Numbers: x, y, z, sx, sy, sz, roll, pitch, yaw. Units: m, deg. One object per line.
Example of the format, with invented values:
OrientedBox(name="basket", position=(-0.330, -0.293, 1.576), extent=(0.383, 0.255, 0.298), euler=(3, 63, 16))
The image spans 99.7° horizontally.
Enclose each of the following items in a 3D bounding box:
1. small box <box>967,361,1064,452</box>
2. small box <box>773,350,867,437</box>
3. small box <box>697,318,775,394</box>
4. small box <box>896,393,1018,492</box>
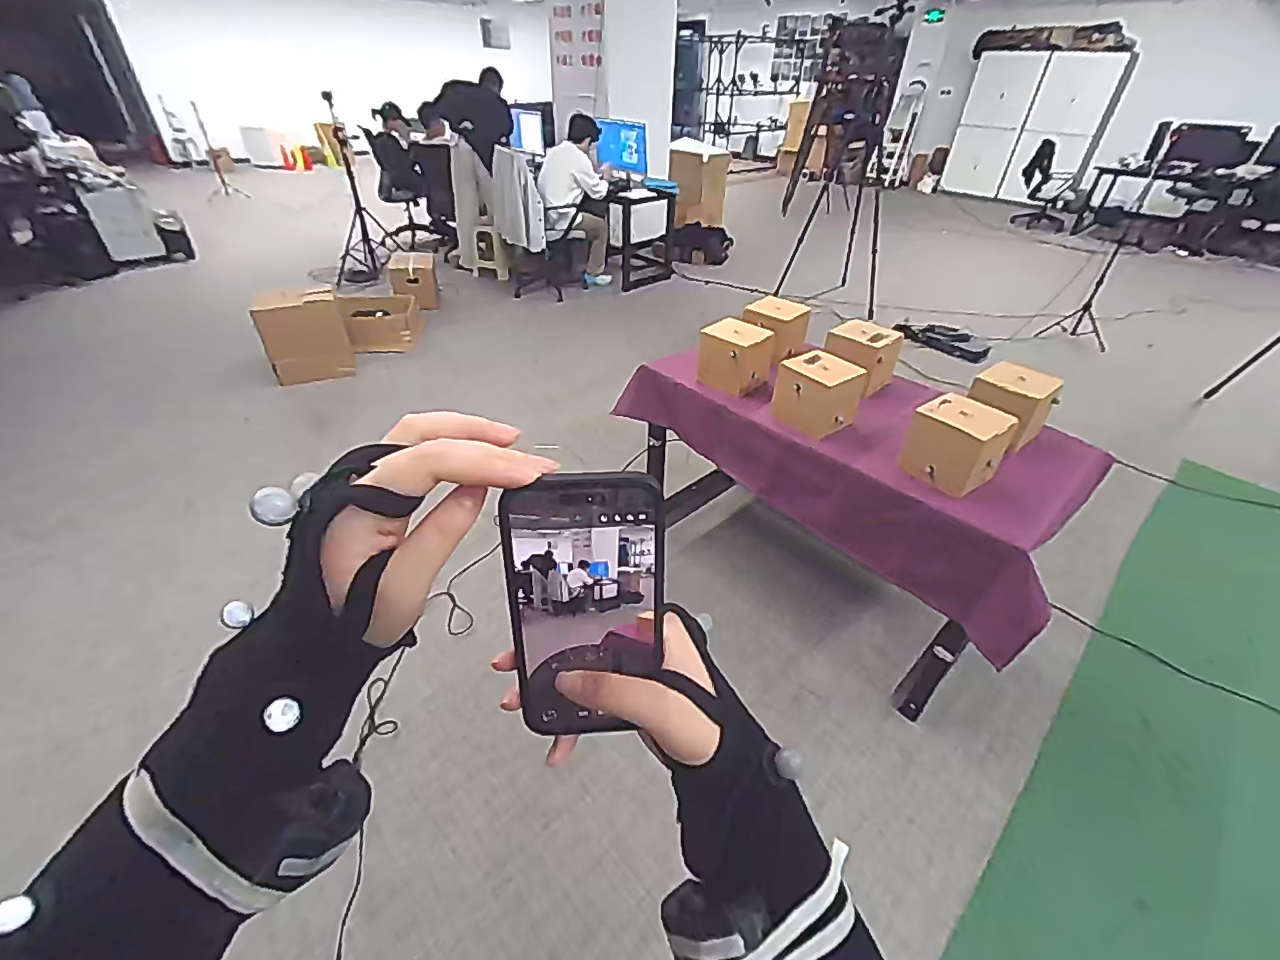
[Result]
OrientedBox(name="small box", position=(1.018, -0.205, 1.501), extent=(0.179, 0.176, 0.168), euler=(-26, 44, -30))
OrientedBox(name="small box", position=(0.501, -0.245, 1.533), extent=(0.168, 0.176, 0.179), euler=(-23, 45, -29))
OrientedBox(name="small box", position=(0.301, -0.395, 1.722), extent=(0.179, 0.176, 0.168), euler=(30, 45, 30))
OrientedBox(name="small box", position=(0.776, -0.088, 1.339), extent=(0.168, 0.176, 0.179), euler=(-22, 44, -29))
